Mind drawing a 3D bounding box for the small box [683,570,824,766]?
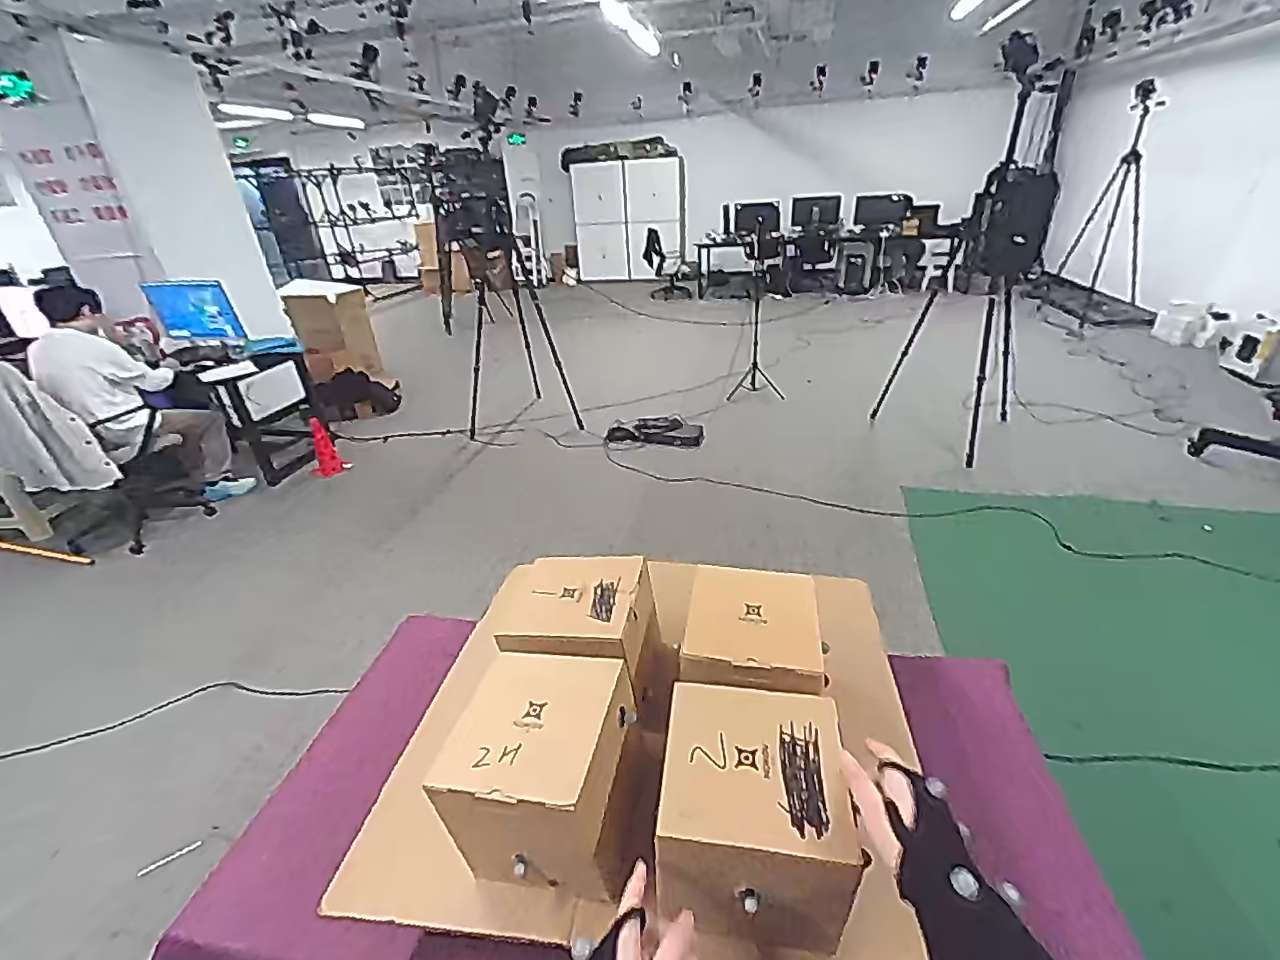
[{"bbox_3d":[0.150,0.251,0.741,0.168,0.176,0.179,4,31,11],"label":"small box"}]
